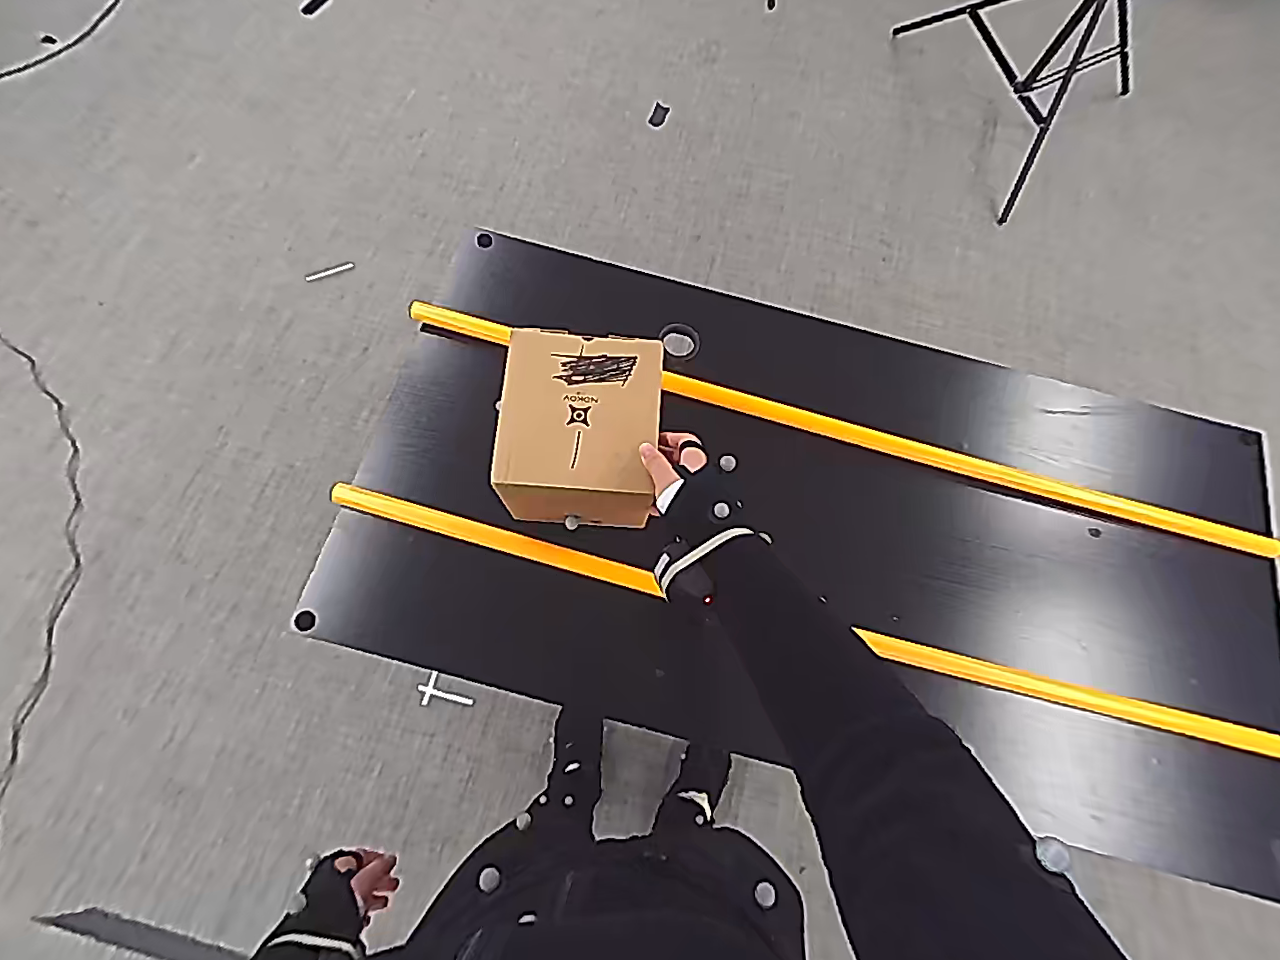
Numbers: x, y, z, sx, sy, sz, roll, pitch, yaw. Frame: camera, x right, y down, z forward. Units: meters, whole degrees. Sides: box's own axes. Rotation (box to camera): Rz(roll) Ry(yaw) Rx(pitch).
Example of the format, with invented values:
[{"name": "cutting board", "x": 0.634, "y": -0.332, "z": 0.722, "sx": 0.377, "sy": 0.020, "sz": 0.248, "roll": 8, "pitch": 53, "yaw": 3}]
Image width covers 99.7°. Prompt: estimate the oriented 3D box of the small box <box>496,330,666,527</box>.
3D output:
[{"name": "small box", "x": -0.064, "y": -0.052, "z": 0.642, "sx": 0.168, "sy": 0.176, "sz": 0.179, "roll": 4, "pitch": 73, "yaw": -3}]
